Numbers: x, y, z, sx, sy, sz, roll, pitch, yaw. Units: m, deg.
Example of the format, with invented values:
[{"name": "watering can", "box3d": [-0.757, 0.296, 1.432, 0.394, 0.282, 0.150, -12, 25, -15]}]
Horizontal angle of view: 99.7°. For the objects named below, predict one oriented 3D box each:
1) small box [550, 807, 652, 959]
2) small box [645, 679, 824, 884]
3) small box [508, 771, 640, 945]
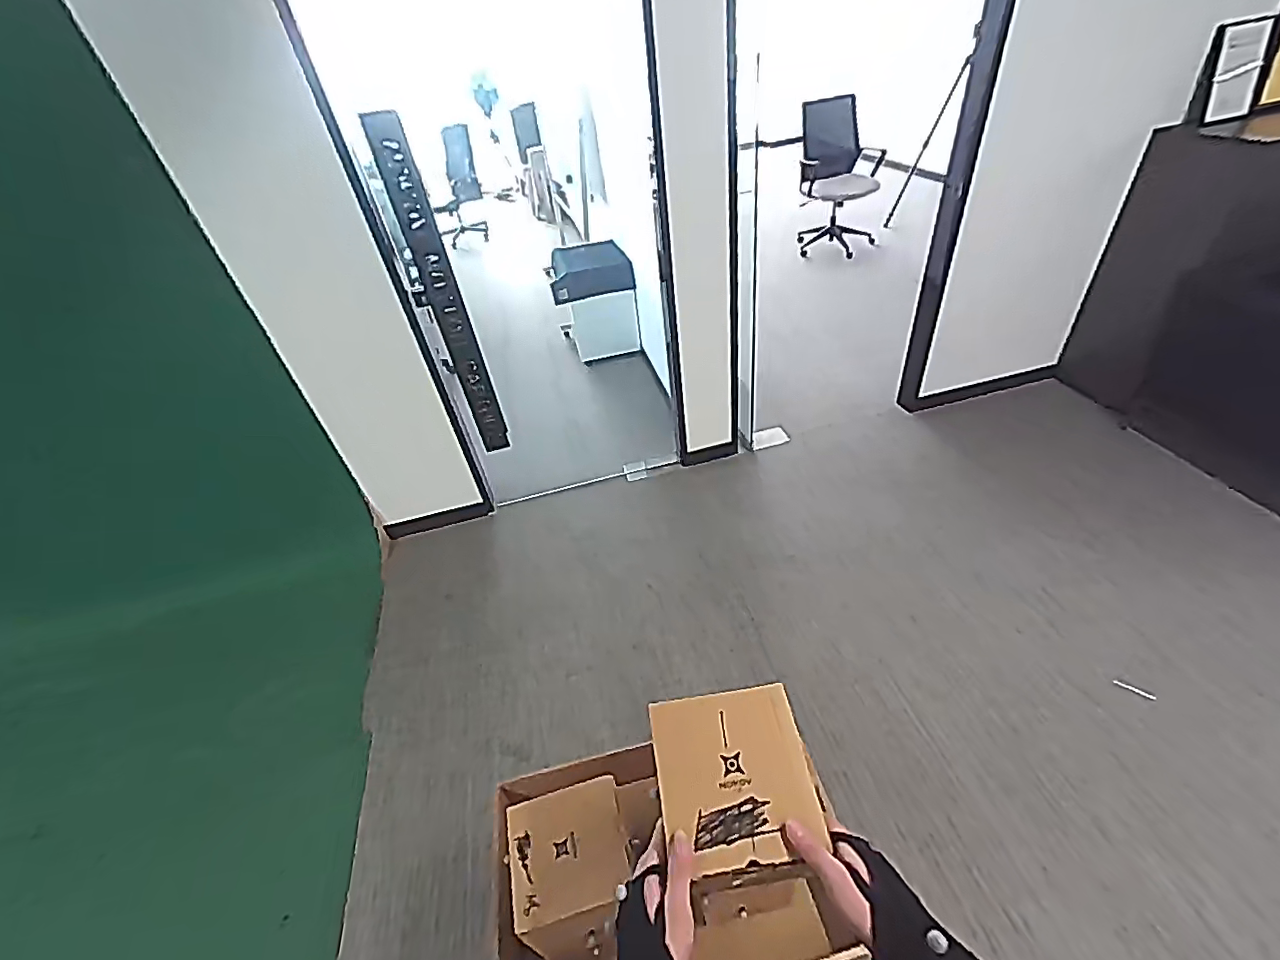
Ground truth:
[{"name": "small box", "box3d": [-0.084, 0.725, 0.968, 0.179, 0.176, 0.168, -12, 40, -6]}, {"name": "small box", "box3d": [0.101, 0.364, 0.646, 0.168, 0.176, 0.179, -8, 47, -1]}, {"name": "small box", "box3d": [-0.101, 0.601, 0.861, 0.179, 0.176, 0.168, -14, 41, -7]}]
